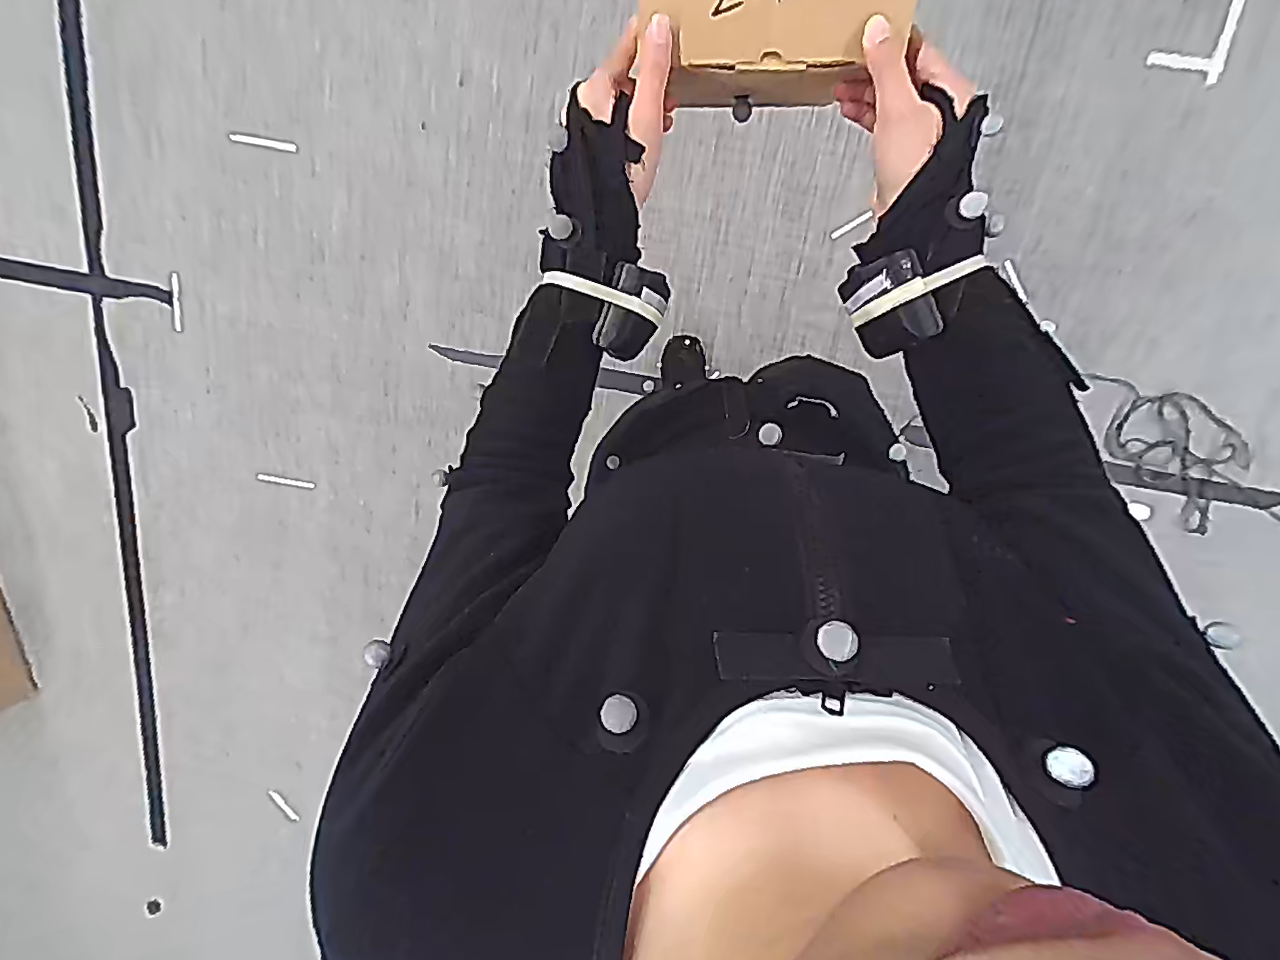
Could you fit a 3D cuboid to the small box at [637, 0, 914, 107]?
[{"bbox_3d":[0.081,-0.372,0.364,0.168,0.176,0.179,1,117,1],"label":"small box"}]
